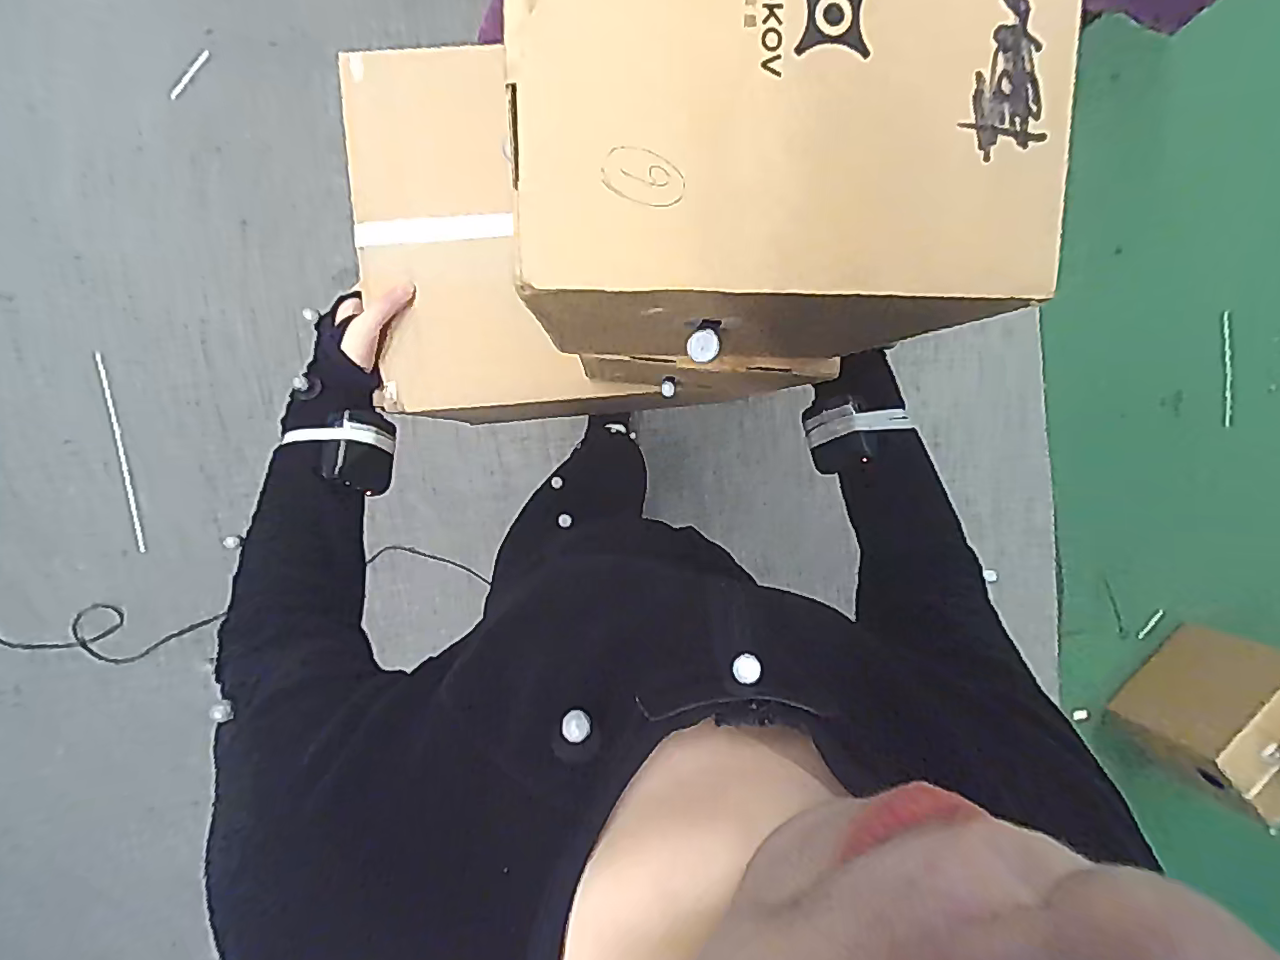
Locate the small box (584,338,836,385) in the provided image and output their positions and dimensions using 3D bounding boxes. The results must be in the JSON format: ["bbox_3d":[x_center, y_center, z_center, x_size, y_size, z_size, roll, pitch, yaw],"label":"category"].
[{"bbox_3d":[0.042,-0.170,0.408,0.168,0.176,0.179,4,97,-4],"label":"small box"}]

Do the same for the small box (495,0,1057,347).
[{"bbox_3d":[0.040,-0.152,0.244,0.179,0.176,0.168,-1,98,-3],"label":"small box"}]

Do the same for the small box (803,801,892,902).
[{"bbox_3d":[0.579,1.034,1.521,0.179,0.176,0.168,-2,94,-8],"label":"small box"}]
